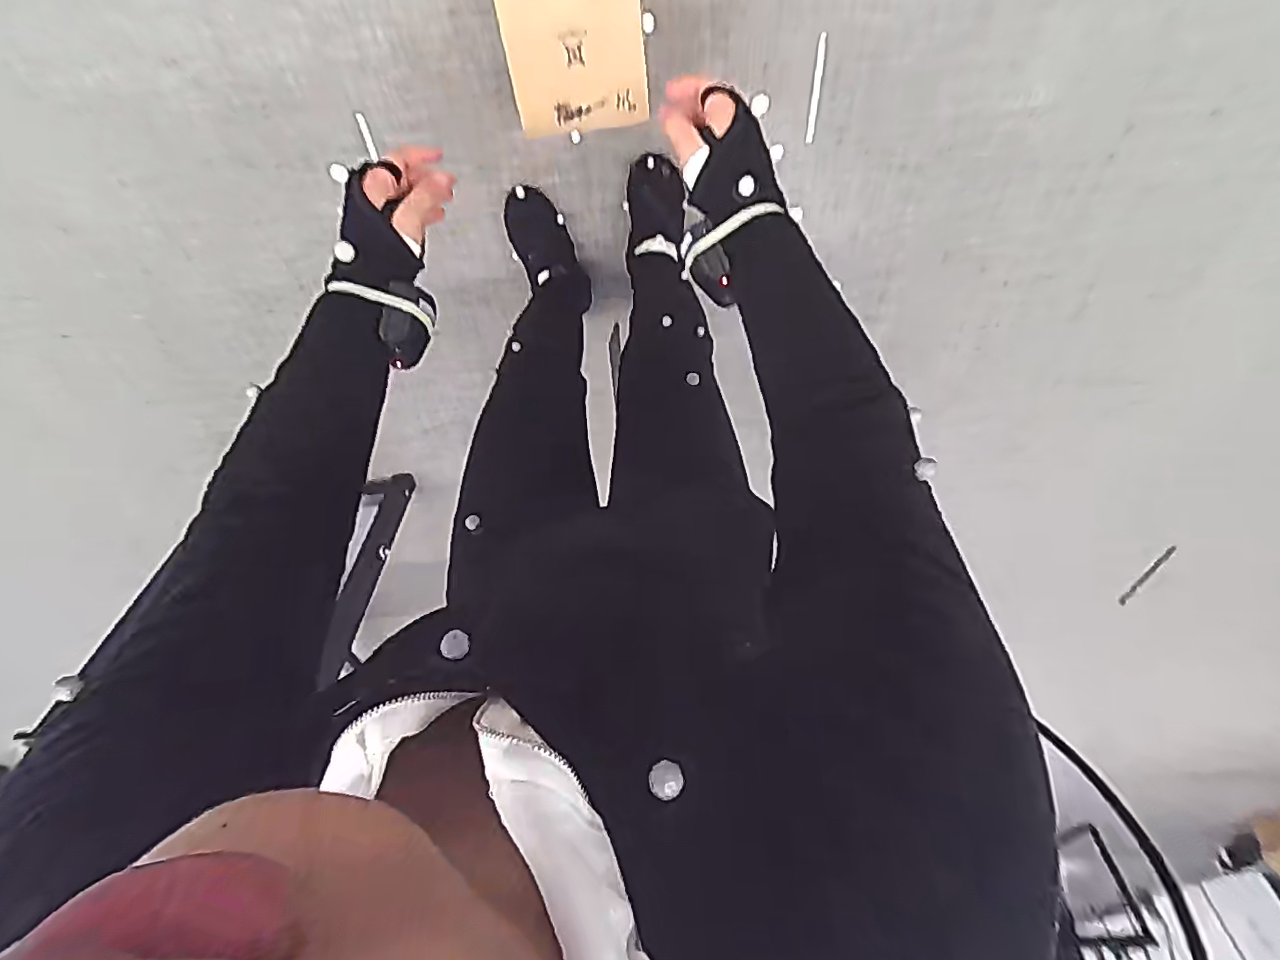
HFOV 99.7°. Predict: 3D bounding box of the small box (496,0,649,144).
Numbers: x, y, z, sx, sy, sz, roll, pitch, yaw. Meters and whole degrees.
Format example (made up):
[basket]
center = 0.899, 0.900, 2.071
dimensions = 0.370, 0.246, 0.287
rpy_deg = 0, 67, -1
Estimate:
[small box]
center = -0.079, -0.561, 0.702
dimensions = 0.168, 0.176, 0.179
rpy_deg = -5, 132, 4
